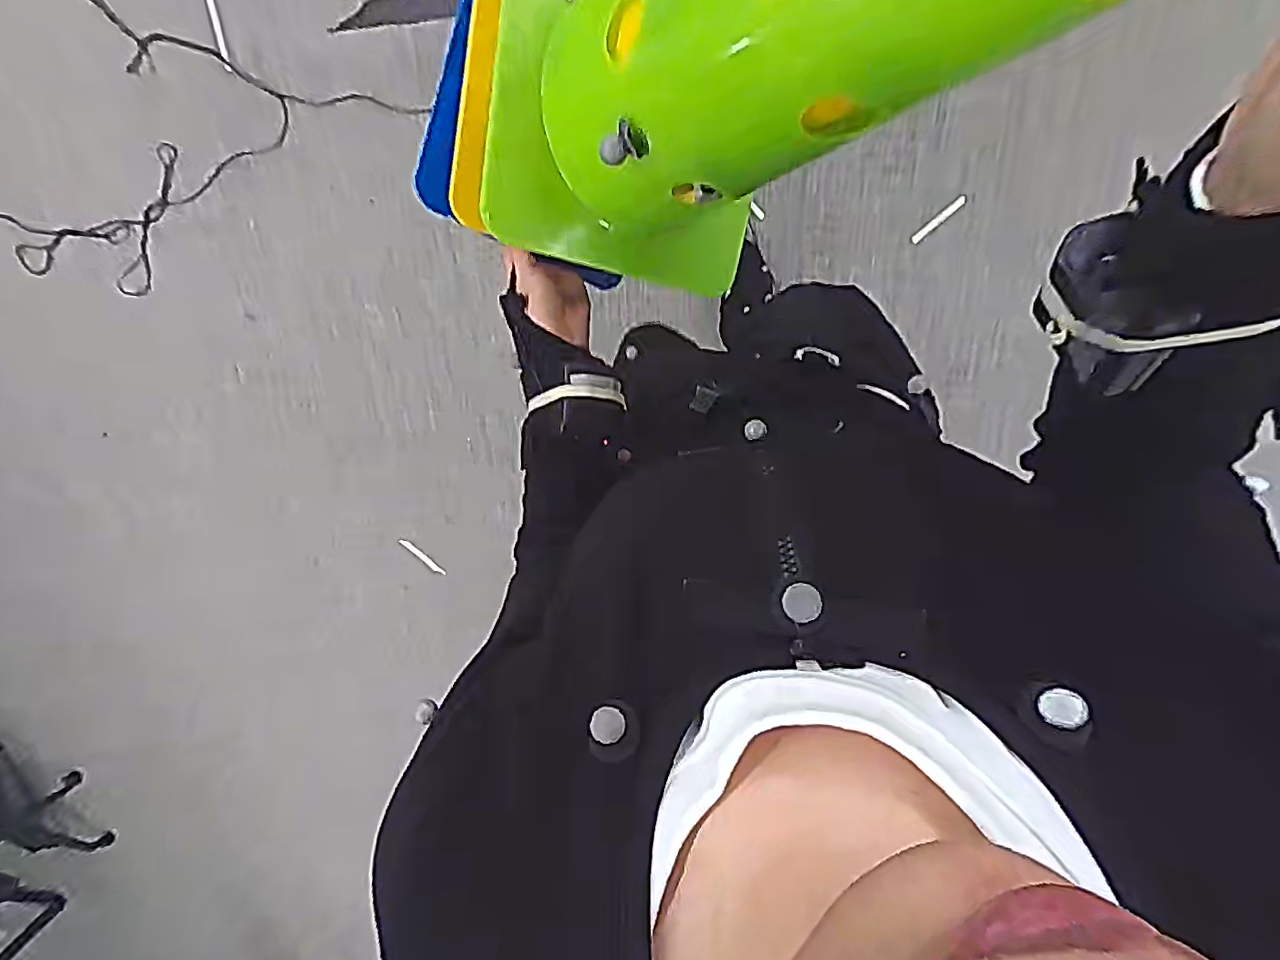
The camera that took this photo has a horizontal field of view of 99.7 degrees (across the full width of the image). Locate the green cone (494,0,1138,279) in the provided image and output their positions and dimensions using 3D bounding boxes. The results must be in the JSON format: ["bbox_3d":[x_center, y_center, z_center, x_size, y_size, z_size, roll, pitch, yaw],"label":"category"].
[{"bbox_3d":[0.091,-0.194,0.204,0.200,0.368,0.202,3,108,-29],"label":"green cone"}]
